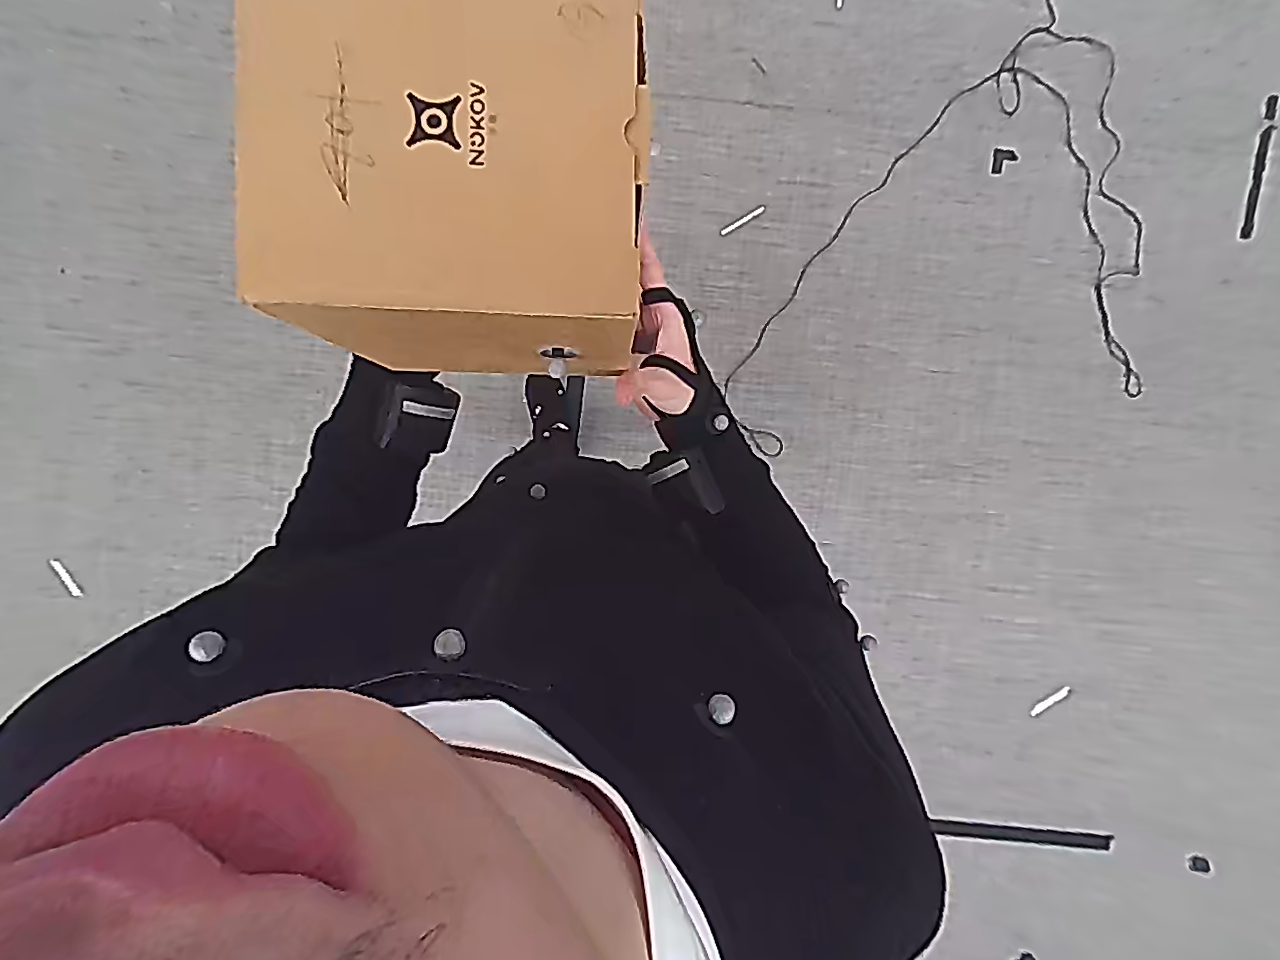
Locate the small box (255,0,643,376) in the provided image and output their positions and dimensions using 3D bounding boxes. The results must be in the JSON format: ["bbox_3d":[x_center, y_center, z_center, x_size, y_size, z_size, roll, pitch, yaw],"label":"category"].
[{"bbox_3d":[-0.091,-0.160,0.328,0.179,0.176,0.168,1,91,-2],"label":"small box"}]
